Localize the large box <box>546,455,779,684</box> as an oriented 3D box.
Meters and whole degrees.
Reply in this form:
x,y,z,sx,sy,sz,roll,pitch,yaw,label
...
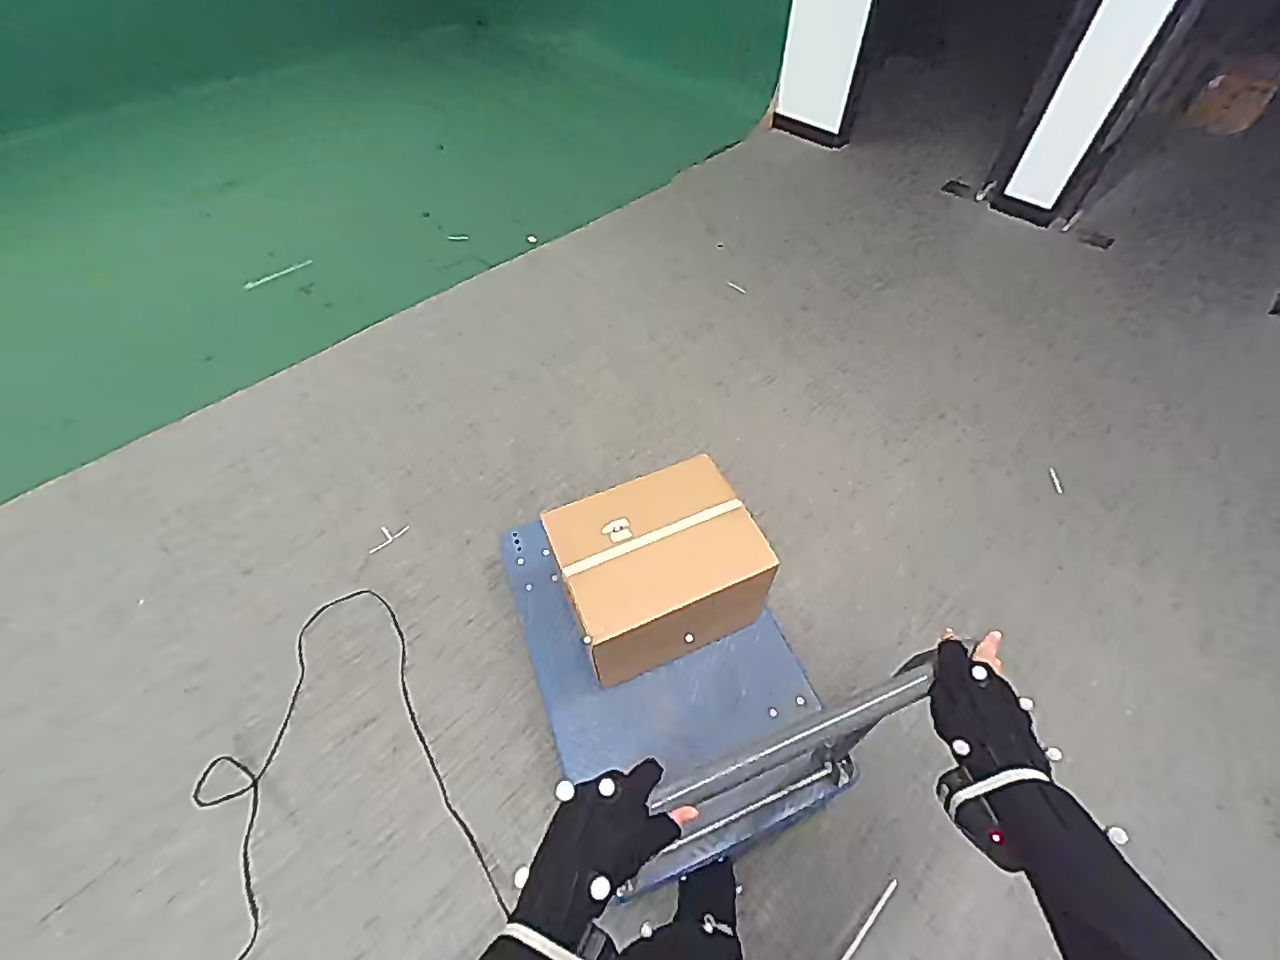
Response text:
x,y,z,sx,sy,sz,roll,pitch,yaw,label
0.044,0.207,1.240,0.408,0.320,0.320,-21,56,-13,large box
